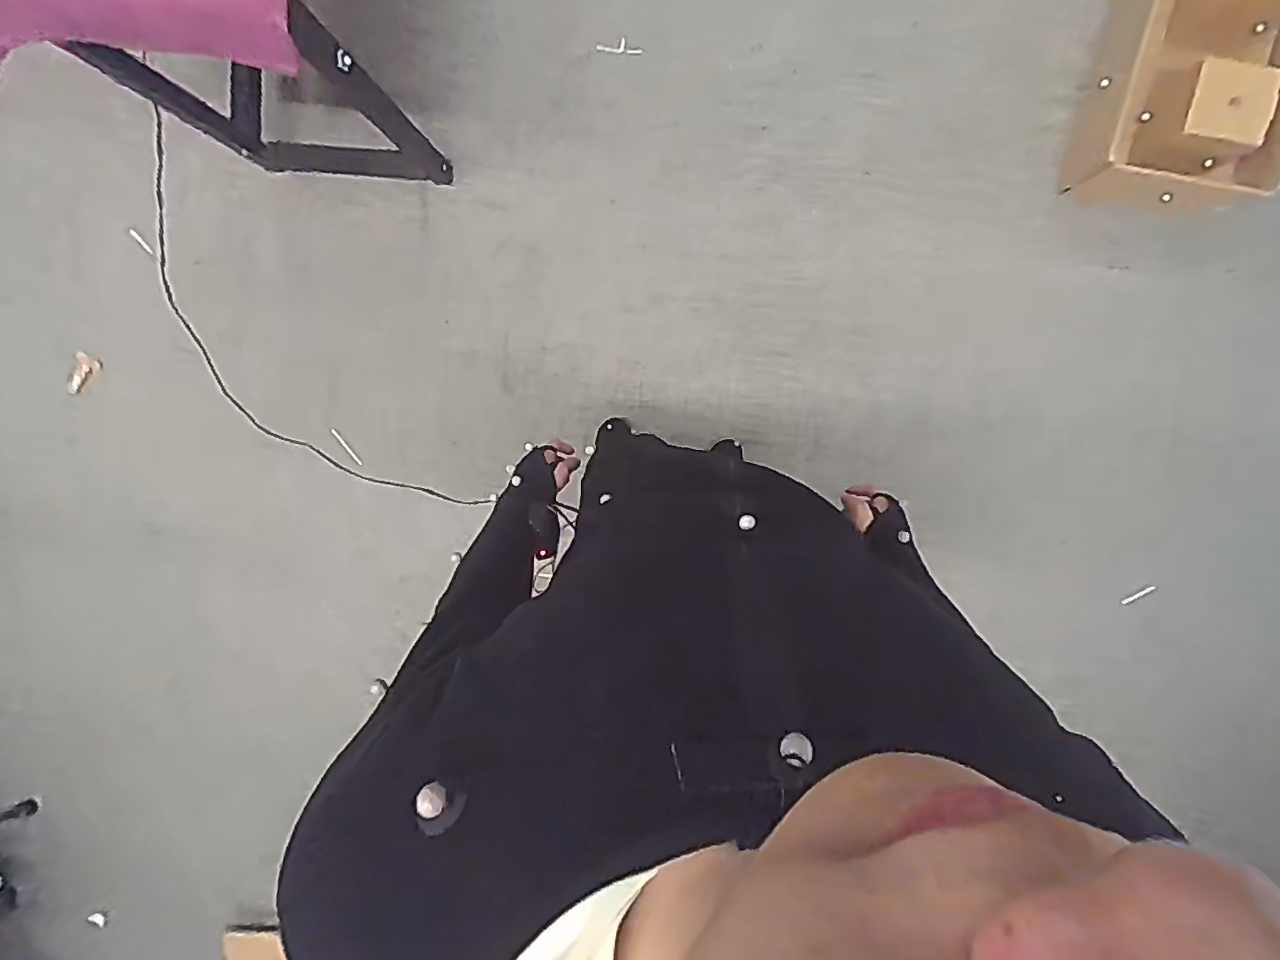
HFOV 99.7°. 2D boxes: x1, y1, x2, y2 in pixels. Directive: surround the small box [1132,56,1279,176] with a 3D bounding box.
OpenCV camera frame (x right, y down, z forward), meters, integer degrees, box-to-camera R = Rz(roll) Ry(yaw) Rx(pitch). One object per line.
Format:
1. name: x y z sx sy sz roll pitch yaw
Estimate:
1. small box: 1.338 -0.849 1.278 0.179 0.176 0.168 13 96 4
